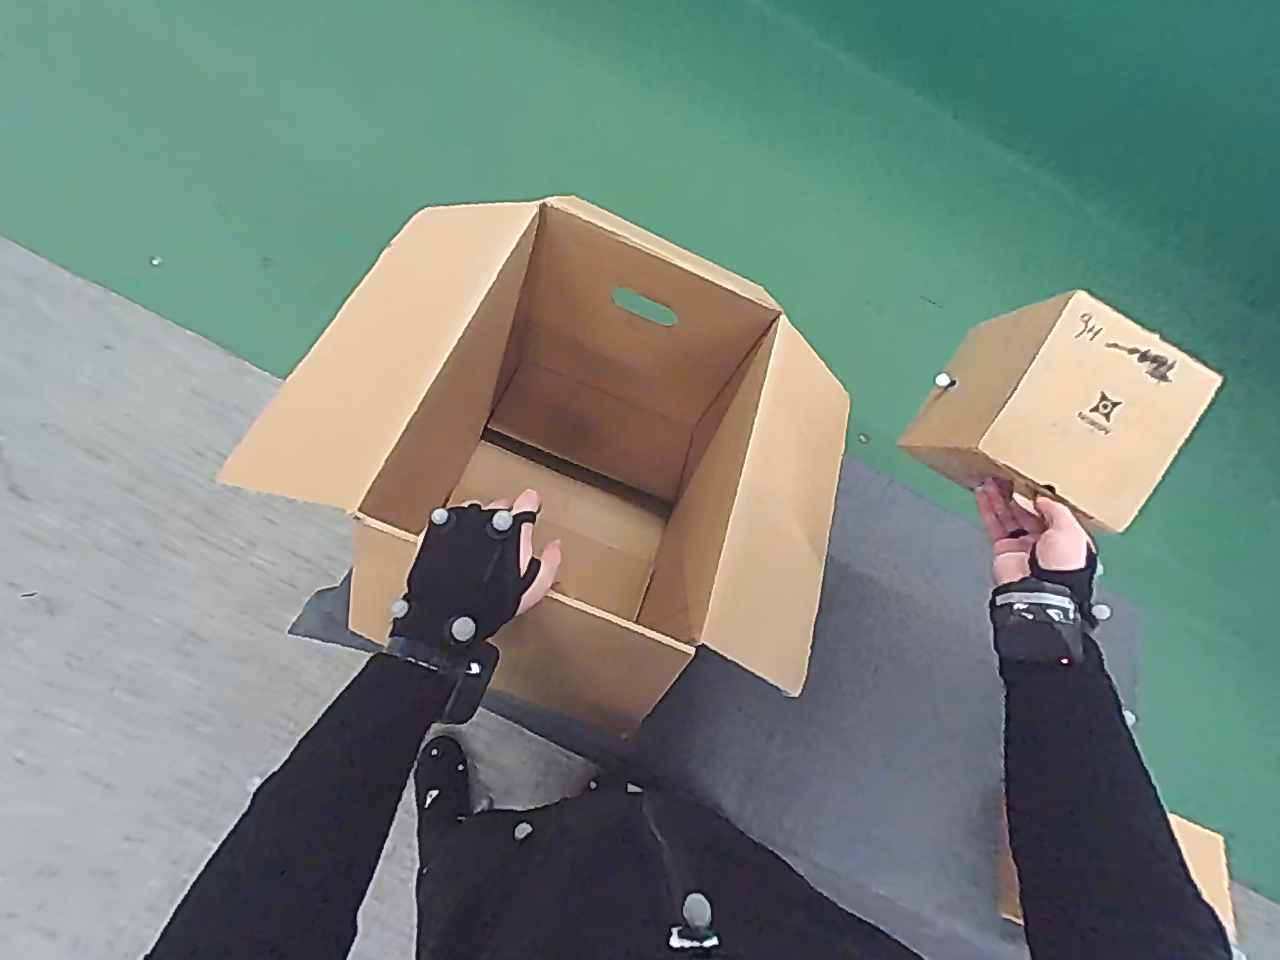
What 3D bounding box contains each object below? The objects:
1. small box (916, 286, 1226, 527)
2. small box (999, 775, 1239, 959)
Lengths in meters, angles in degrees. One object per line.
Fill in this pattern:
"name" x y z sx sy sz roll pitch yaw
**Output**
"small box" 0.439 -0.074 0.591 0.168 0.176 0.179 31 95 -1
"small box" 0.606 0.511 0.707 0.168 0.176 0.179 25 62 -4
